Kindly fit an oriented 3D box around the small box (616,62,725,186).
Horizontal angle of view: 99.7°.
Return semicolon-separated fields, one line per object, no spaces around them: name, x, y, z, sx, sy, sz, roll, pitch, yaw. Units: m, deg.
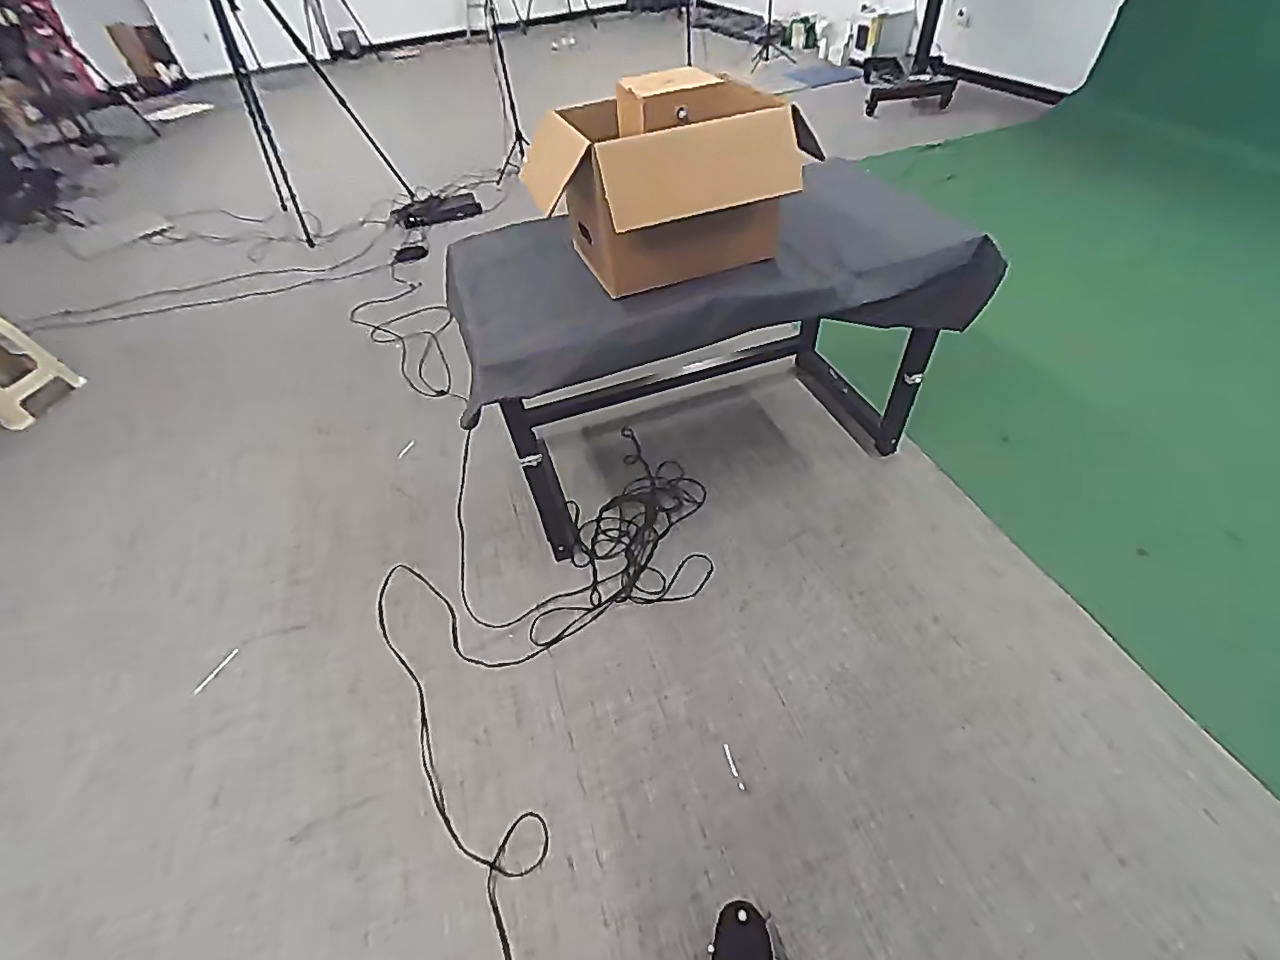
small box;0.061;-0.741;1.127;0.179;0.176;0.168;-18;49;-10
